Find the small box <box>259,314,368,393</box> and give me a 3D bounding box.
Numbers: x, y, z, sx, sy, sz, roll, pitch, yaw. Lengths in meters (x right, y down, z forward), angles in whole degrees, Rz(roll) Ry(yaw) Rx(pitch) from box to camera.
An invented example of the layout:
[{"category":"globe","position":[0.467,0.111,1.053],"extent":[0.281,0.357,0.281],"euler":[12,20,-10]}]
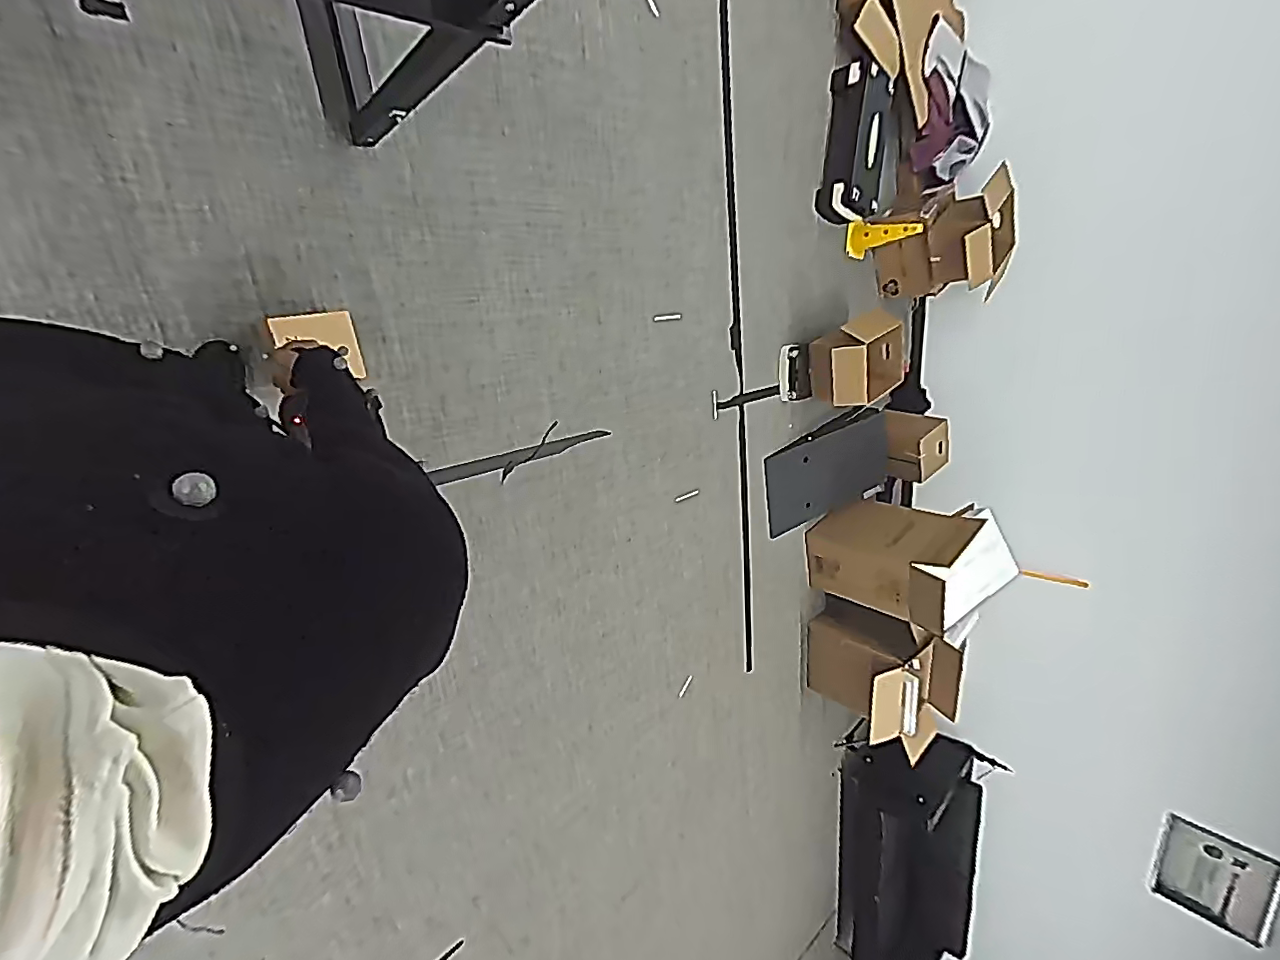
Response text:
[{"category":"small box","position":[-0.811,-0.319,1.343],"extent":[0.179,0.176,0.168],"euler":[-22,114,-37]}]
